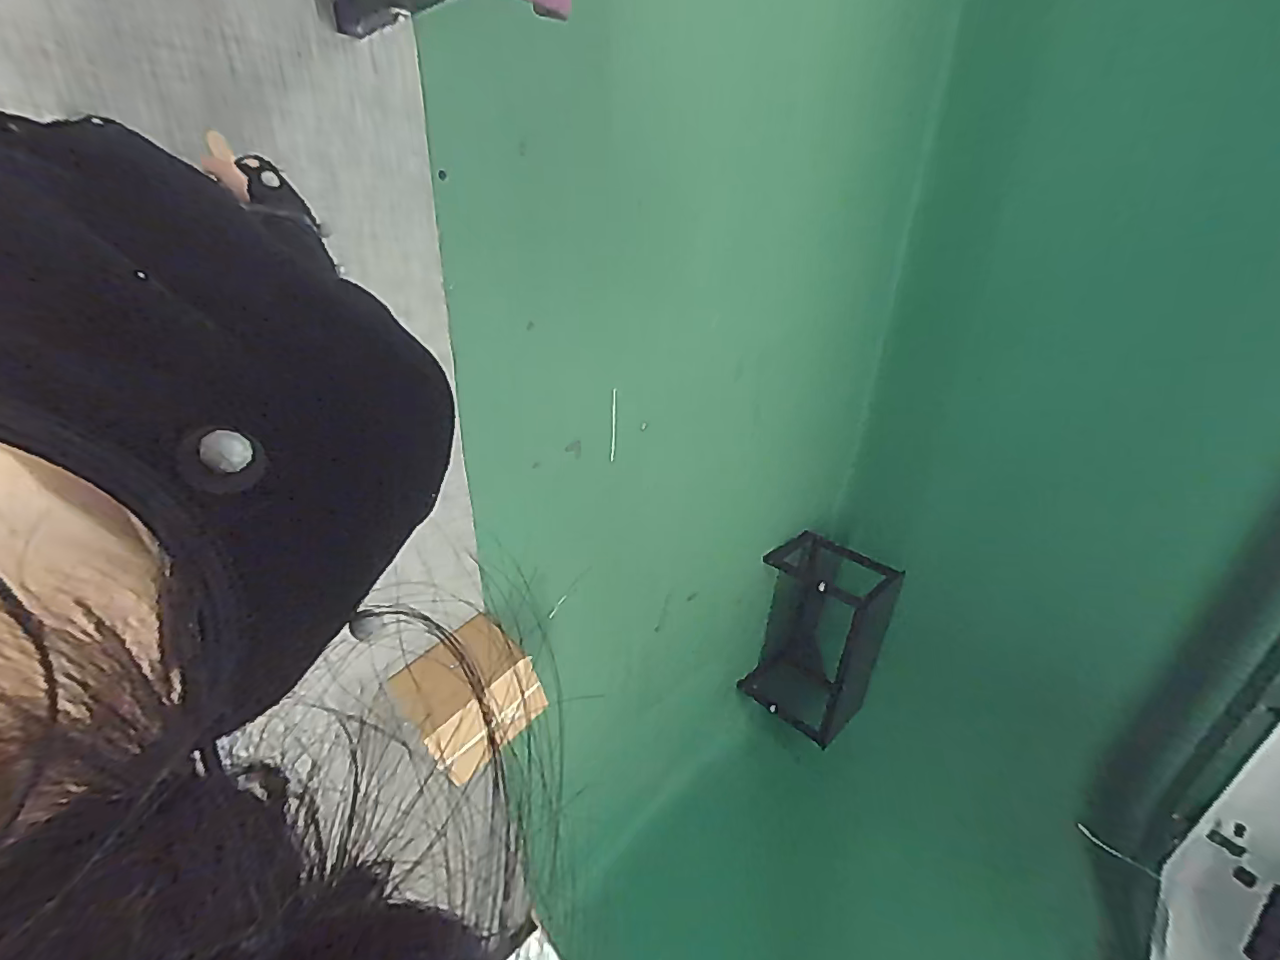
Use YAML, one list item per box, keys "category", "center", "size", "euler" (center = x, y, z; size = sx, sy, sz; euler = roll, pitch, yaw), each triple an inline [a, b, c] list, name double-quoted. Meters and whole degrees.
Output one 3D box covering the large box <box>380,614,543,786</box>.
- category: "large box"
  center: [-0.623, 0.764, 1.925]
  size: [0.408, 0.320, 0.320]
  euler: [-36, 134, -32]
